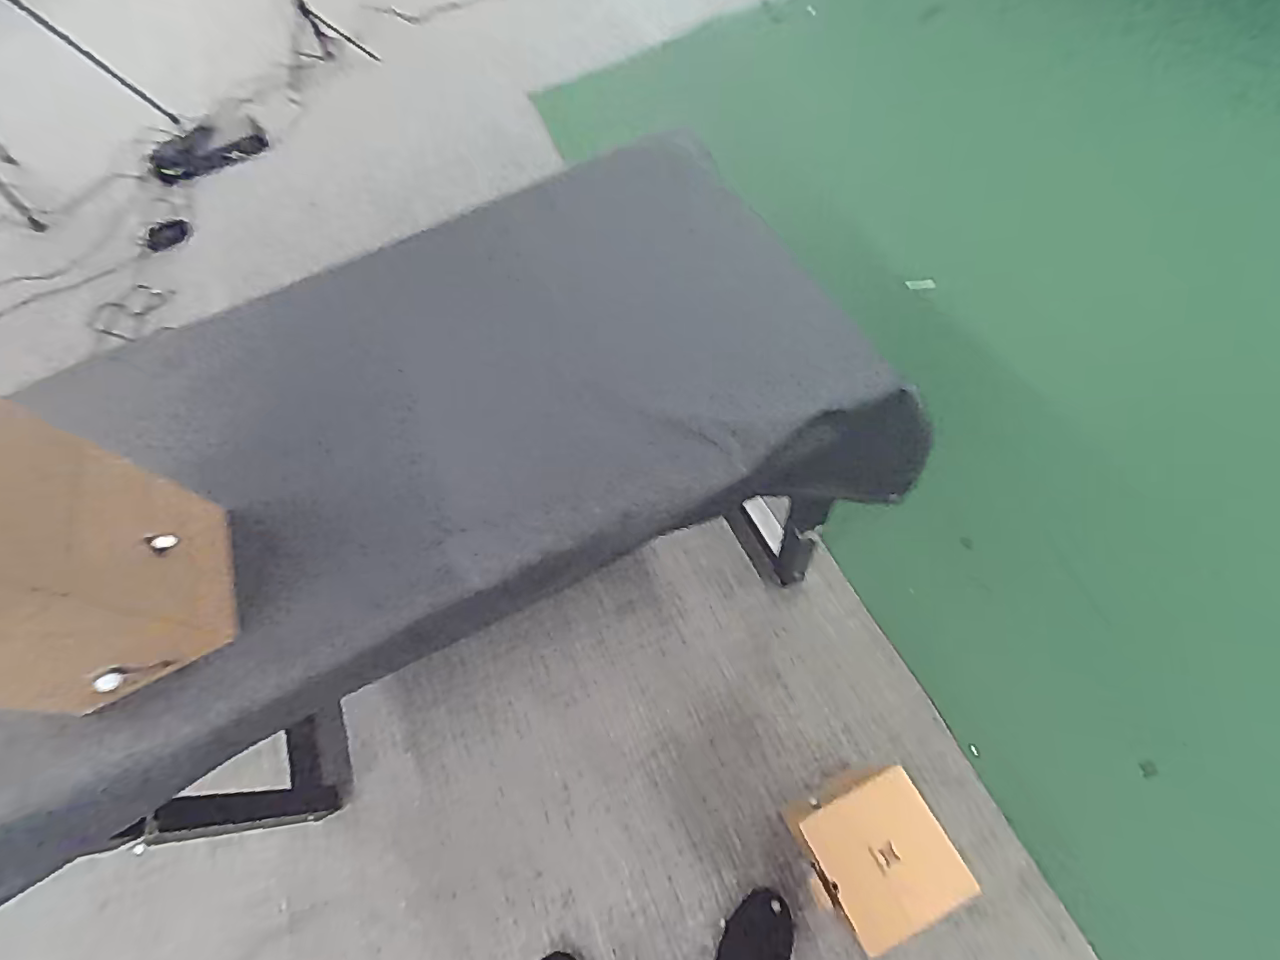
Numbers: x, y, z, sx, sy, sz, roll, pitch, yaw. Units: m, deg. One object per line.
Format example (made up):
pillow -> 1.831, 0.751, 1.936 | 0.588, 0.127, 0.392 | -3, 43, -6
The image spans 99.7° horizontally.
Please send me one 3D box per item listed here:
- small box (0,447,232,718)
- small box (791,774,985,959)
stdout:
small box -> -0.538, 0.106, 0.521 | 0.168, 0.176, 0.179 | -27, 62, -6
small box -> 0.343, 0.550, 0.790 | 0.179, 0.176, 0.168 | -27, 62, -6
